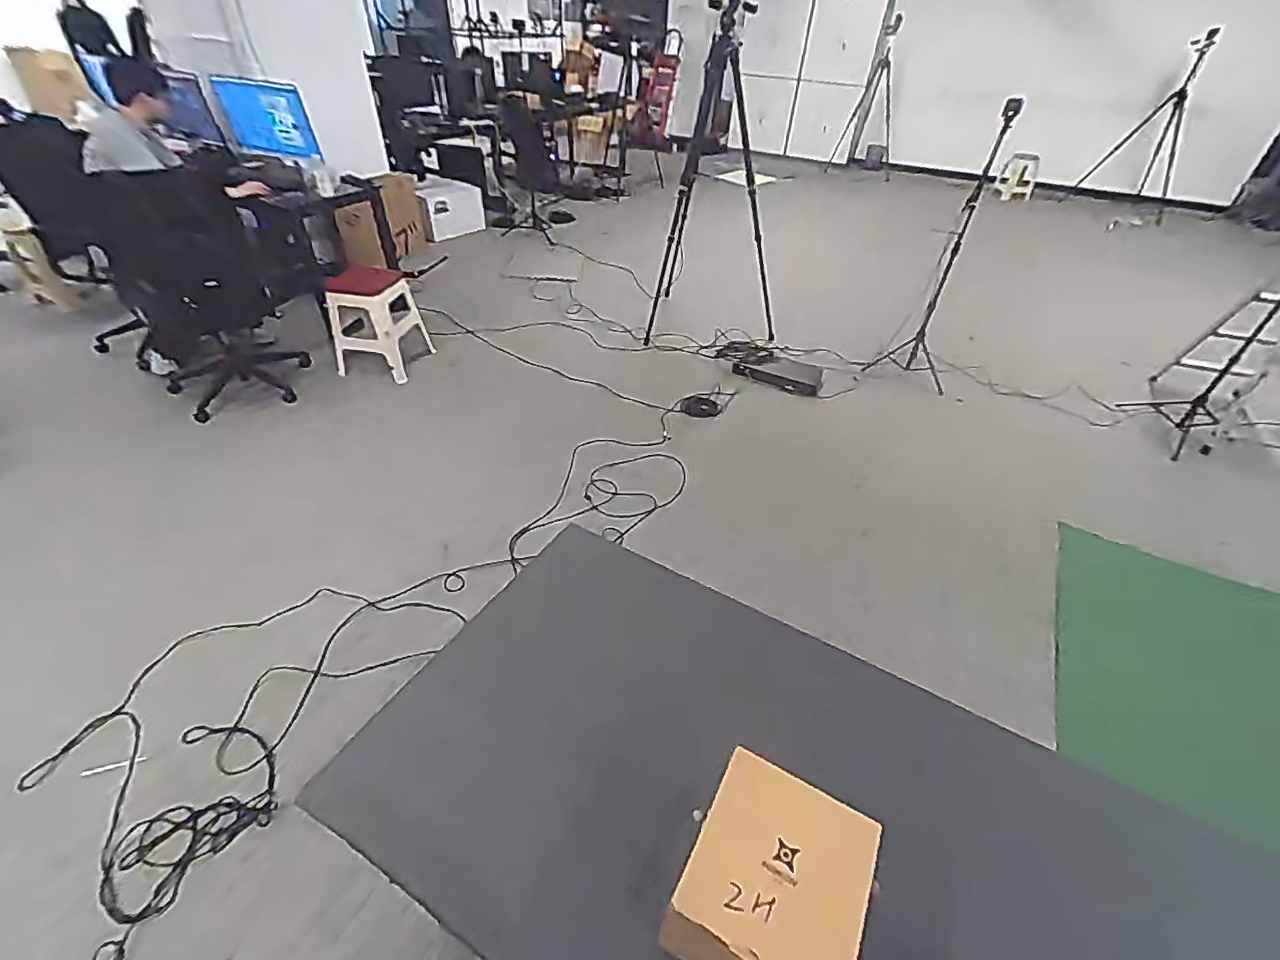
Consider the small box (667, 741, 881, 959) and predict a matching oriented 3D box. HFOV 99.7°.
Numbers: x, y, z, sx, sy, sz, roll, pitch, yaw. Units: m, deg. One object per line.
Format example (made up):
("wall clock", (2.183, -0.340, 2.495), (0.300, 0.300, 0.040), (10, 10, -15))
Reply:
("small box", (0.138, 0.435, 0.586), (0.168, 0.176, 0.179), (21, 43, 21))
